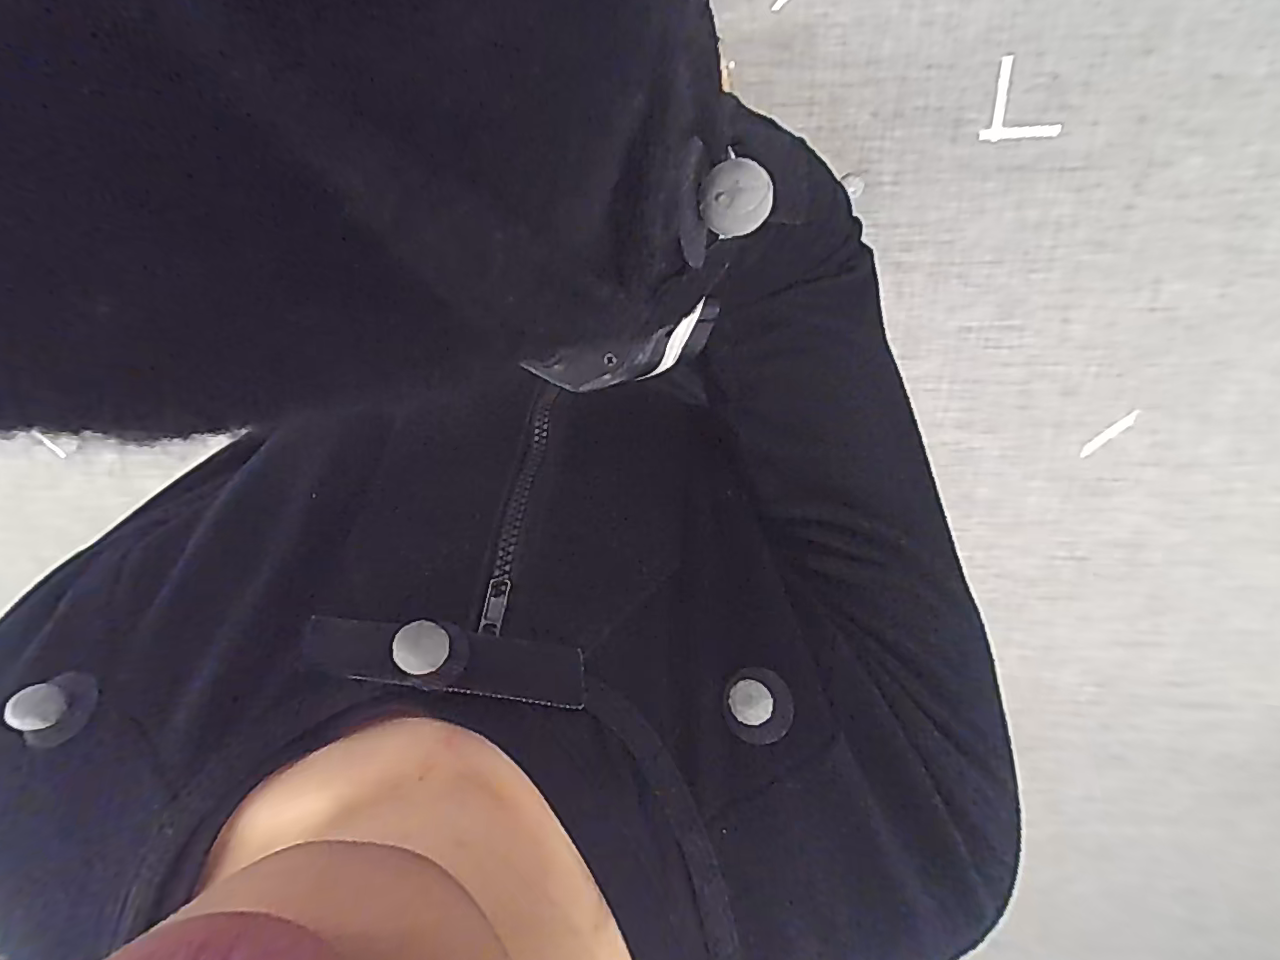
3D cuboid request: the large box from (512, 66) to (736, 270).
[{"bbox_3d":[-0.023,-0.622,1.140,0.408,0.320,0.320,-2,111,1],"label":"large box"}]
